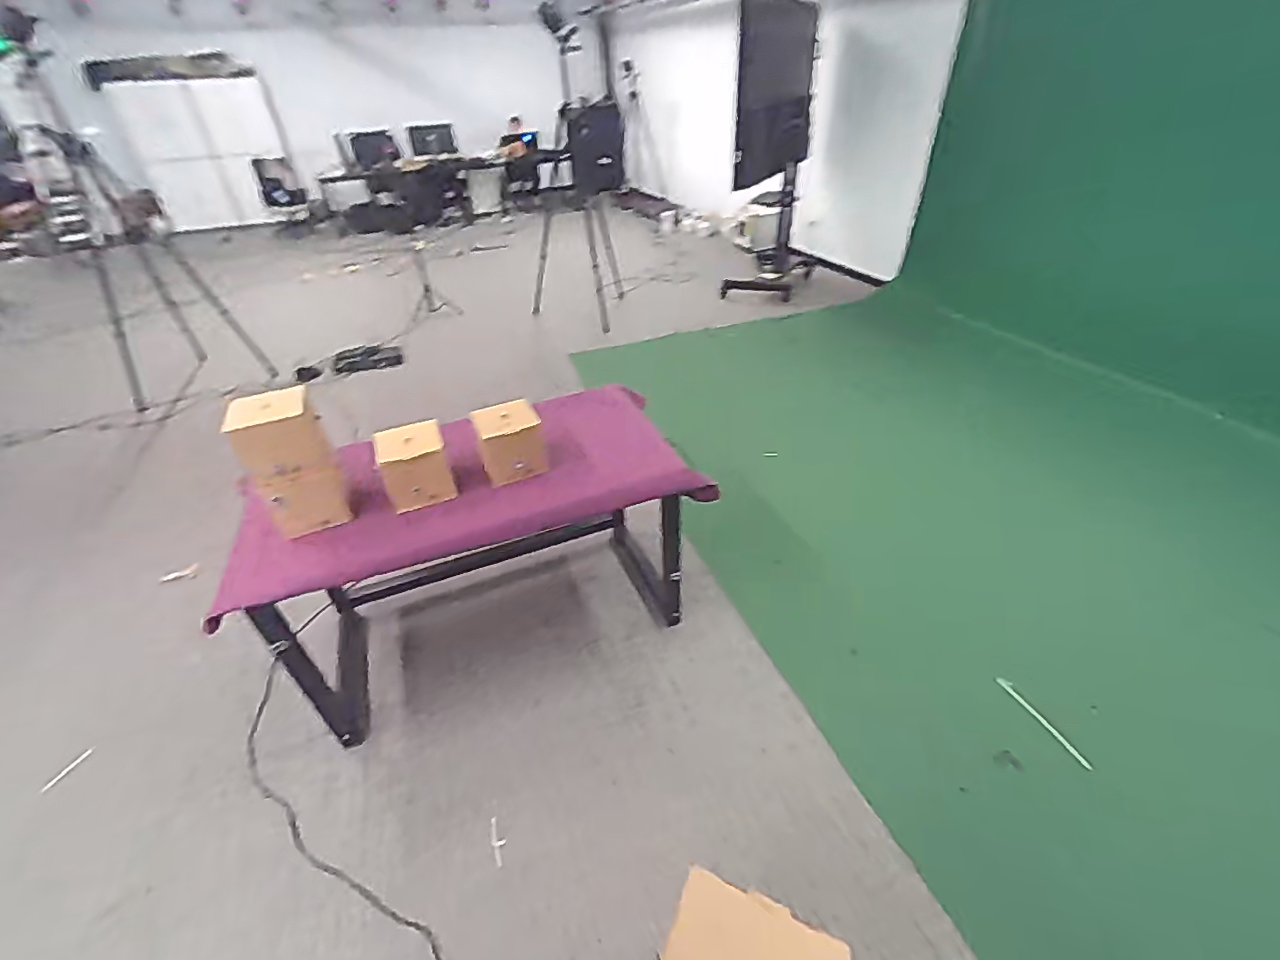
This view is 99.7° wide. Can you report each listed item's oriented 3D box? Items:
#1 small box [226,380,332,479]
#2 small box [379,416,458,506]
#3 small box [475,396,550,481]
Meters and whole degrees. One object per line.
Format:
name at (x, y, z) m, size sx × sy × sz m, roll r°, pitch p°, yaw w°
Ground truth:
small box at (-0.889, -0.127, 1.348) m, size 0.168 × 0.176 × 0.179 m, roll -17°, pitch 39°, yaw -19°
small box at (-0.620, -0.055, 1.517) m, size 0.168 × 0.176 × 0.179 m, roll -16°, pitch 40°, yaw -18°
small box at (-0.376, -0.123, 1.592) m, size 0.168 × 0.176 × 0.179 m, roll -17°, pitch 40°, yaw -18°
